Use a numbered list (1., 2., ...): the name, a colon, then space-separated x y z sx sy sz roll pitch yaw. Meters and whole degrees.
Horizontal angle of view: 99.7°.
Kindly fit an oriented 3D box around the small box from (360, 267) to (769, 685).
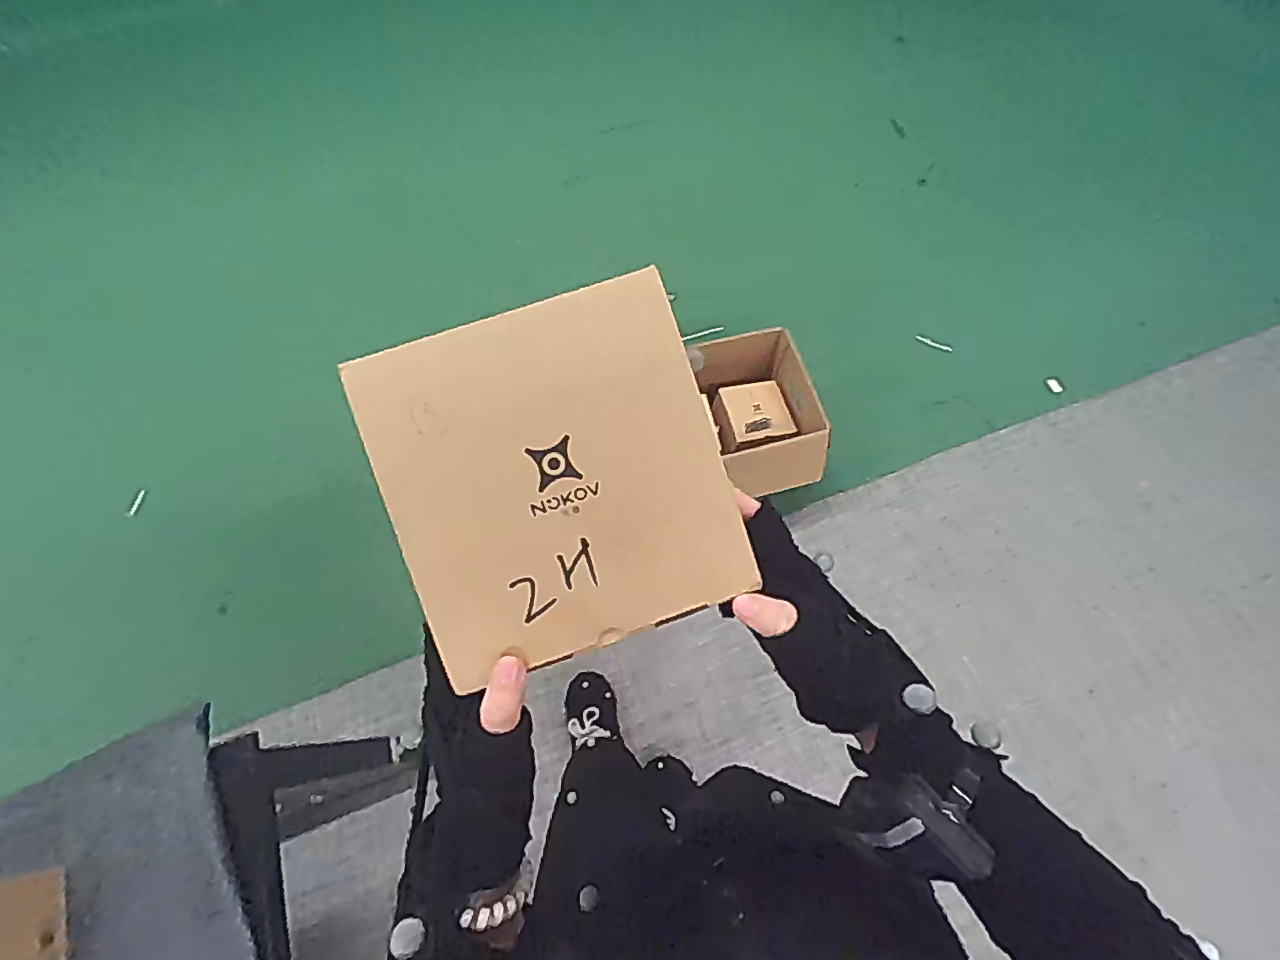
1. small box: -0.042 -0.003 0.350 0.168 0.176 0.179 -18 92 -3
